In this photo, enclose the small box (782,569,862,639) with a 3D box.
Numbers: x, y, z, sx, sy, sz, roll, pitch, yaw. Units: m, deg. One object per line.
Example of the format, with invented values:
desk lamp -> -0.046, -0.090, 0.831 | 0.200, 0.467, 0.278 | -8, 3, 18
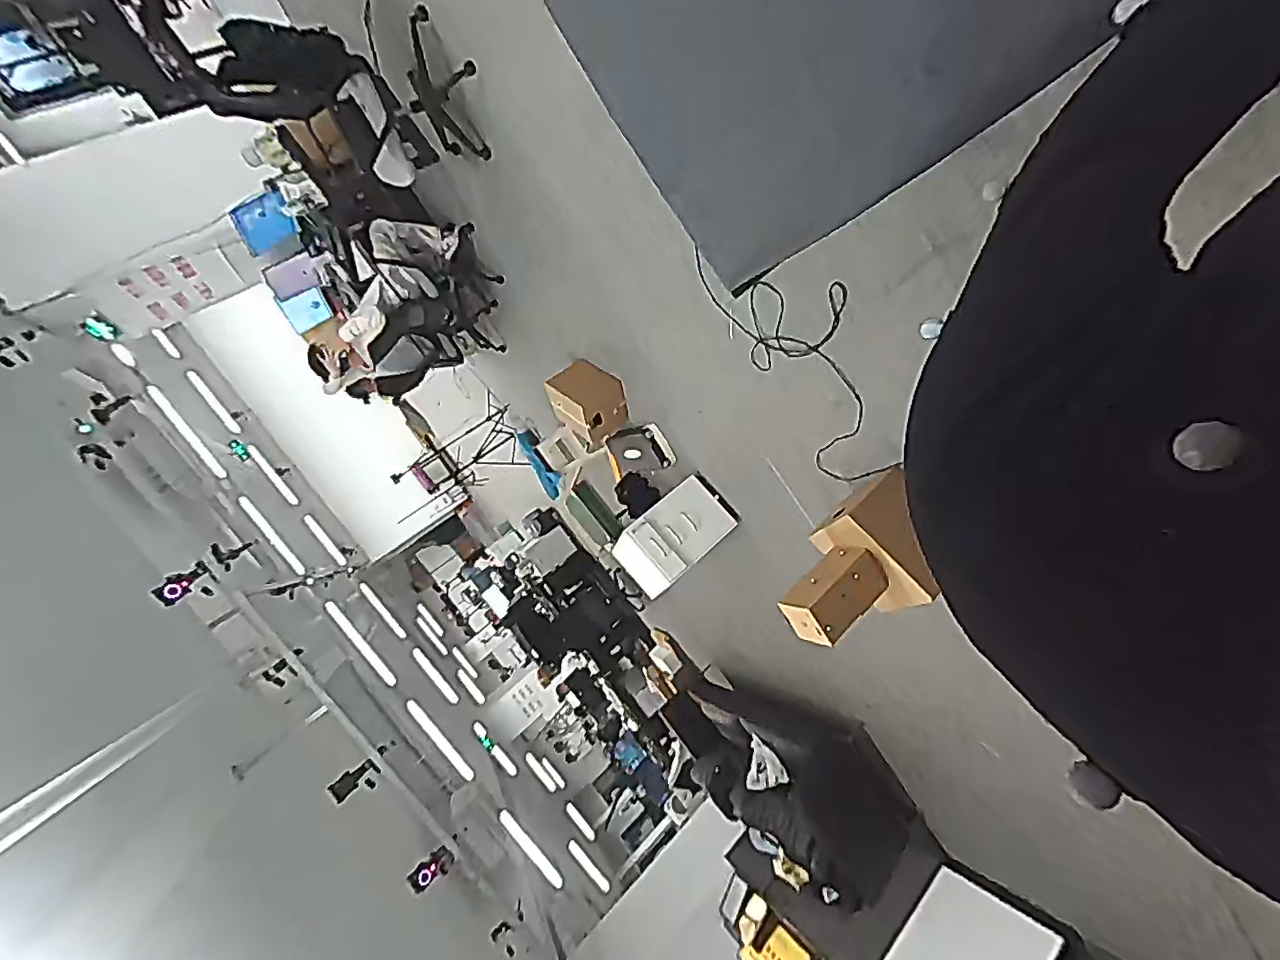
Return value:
small box -> 0.649, 0.434, 1.927 | 0.168, 0.176, 0.179 | 55, 160, -10
